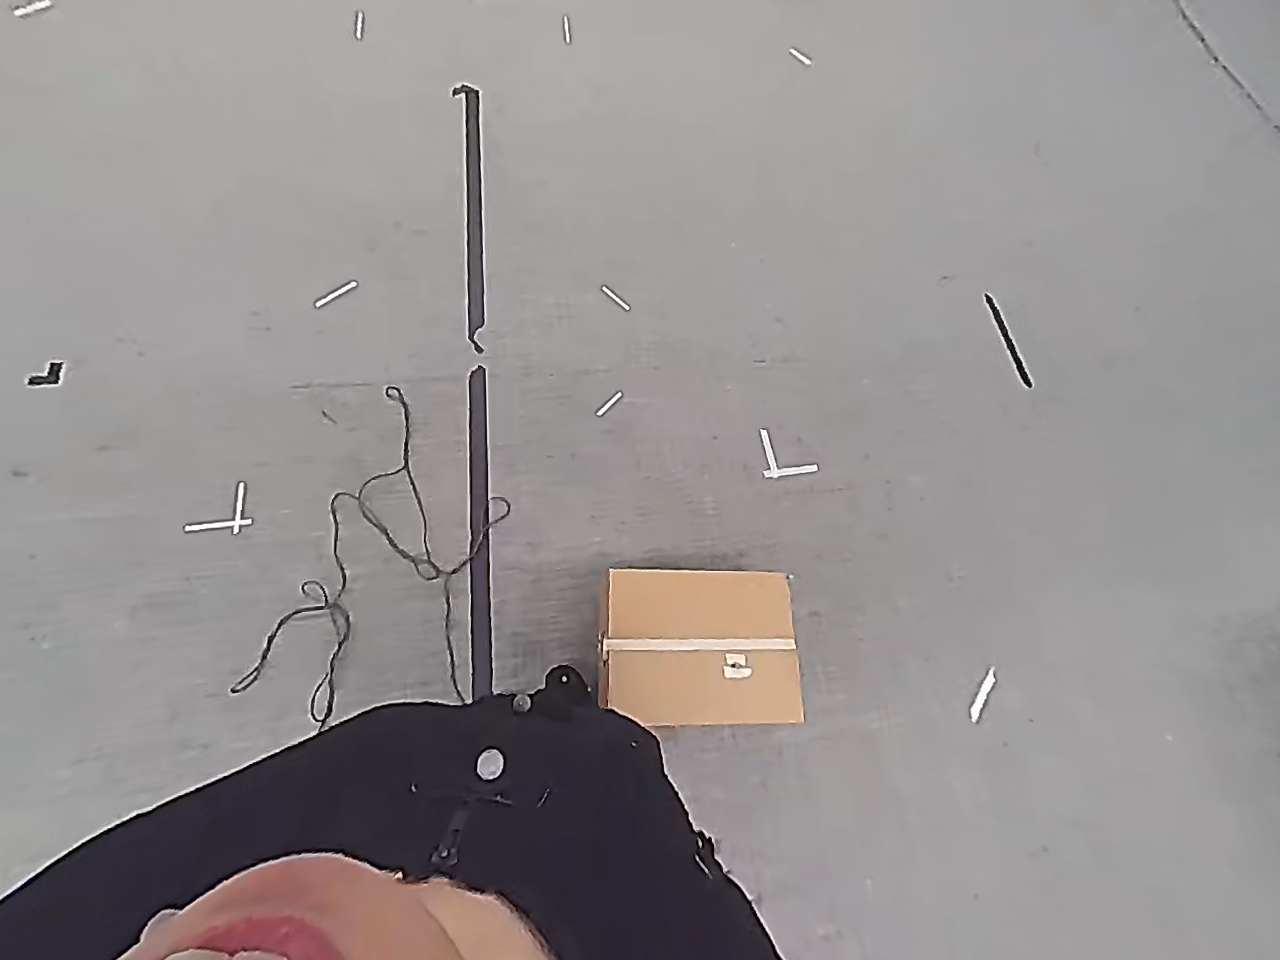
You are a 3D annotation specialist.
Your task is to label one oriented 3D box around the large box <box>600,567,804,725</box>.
[{"bbox_3d":[0.117,0.393,1.274,0.408,0.320,0.320,2,69,-8],"label":"large box"}]
